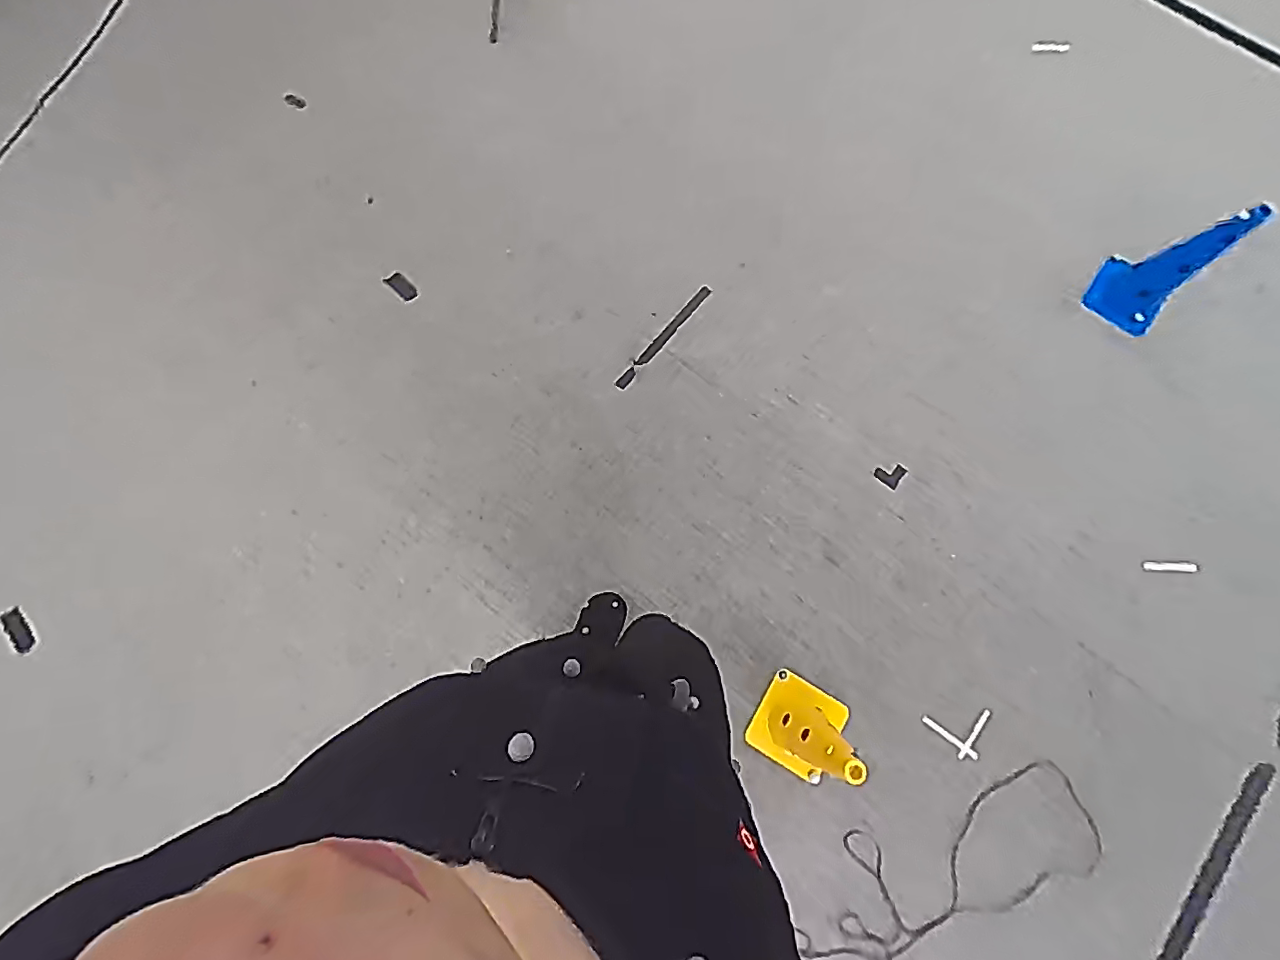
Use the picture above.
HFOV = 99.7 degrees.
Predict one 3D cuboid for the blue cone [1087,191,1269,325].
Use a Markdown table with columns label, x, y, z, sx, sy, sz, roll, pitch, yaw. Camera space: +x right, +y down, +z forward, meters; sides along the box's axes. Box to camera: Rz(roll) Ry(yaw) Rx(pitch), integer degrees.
| label | x | y | z | sx | sy | sz | roll | pitch | yaw |
| --- | --- | --- | --- | --- | --- | --- | --- | --- | --- |
| blue cone | 1.396 | -0.583 | 1.384 | 0.192 | 0.380 | 0.193 | 38 | 81 | 8 |
